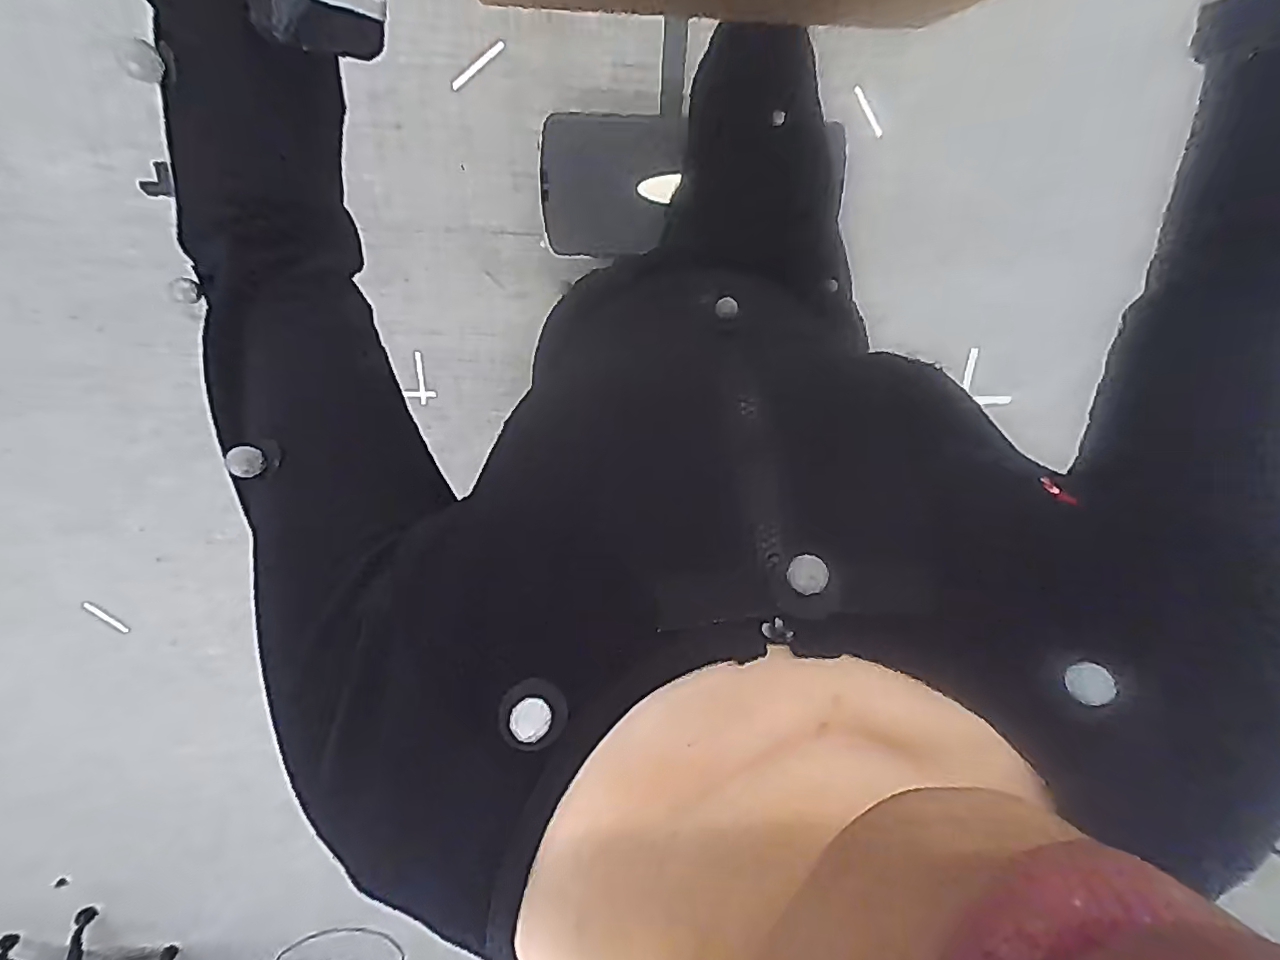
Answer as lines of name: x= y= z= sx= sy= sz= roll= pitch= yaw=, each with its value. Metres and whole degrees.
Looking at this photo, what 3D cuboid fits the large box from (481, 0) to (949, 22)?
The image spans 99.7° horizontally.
large box: x=0.068 y=-0.481 z=0.290 sx=0.408 sy=0.320 sz=0.320 roll=-1 pitch=120 yaw=-4
